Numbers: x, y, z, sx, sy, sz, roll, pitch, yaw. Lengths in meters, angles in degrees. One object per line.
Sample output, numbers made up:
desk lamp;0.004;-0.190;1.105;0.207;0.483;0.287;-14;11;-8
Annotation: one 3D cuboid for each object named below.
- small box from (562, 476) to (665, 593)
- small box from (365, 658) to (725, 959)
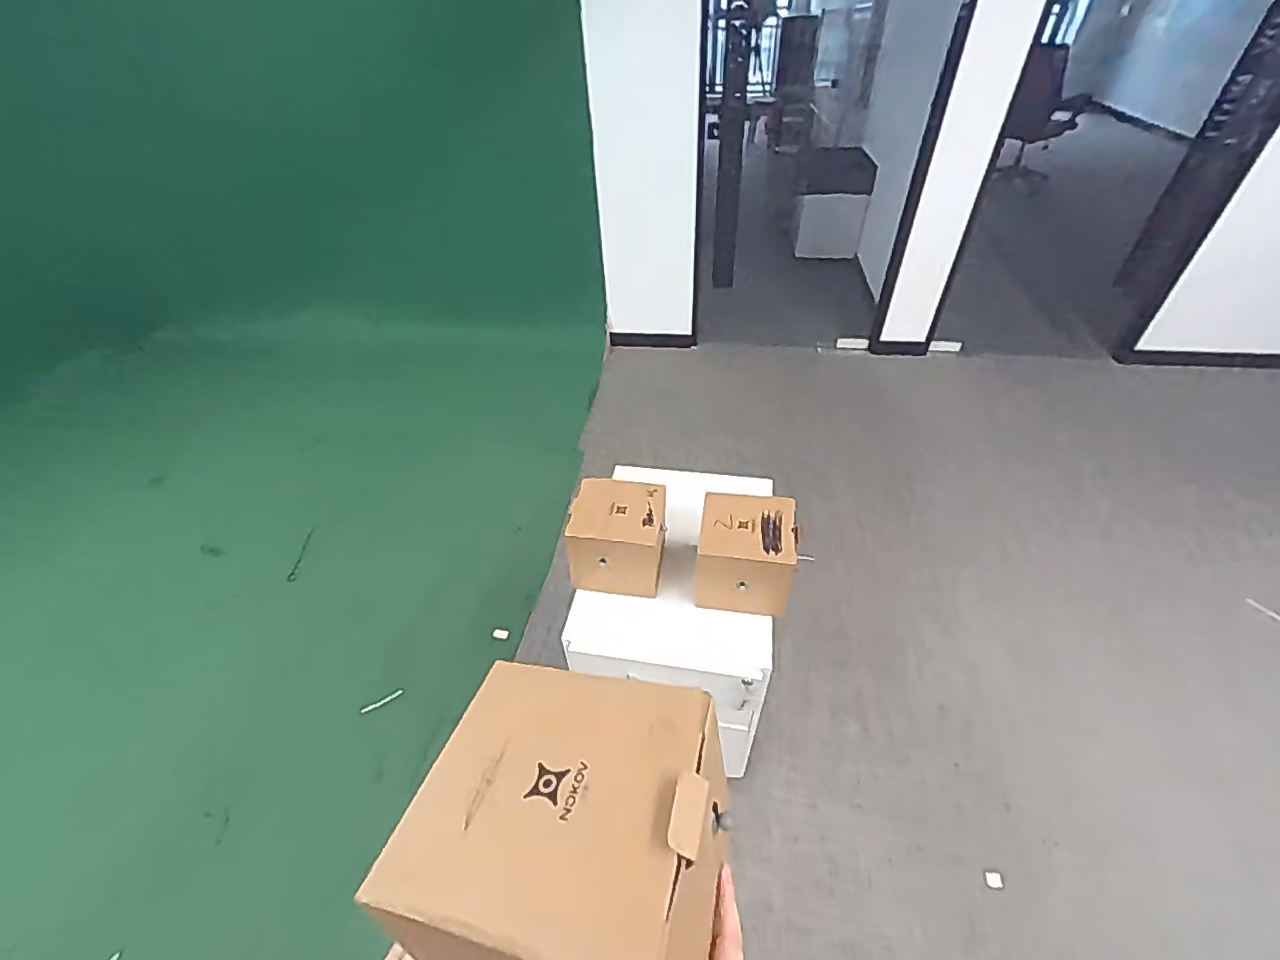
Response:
small box;-0.046;0.113;1.102;0.179;0.176;0.168;5;44;7
small box;-0.040;0.256;0.382;0.179;0.176;0.168;1;32;19
